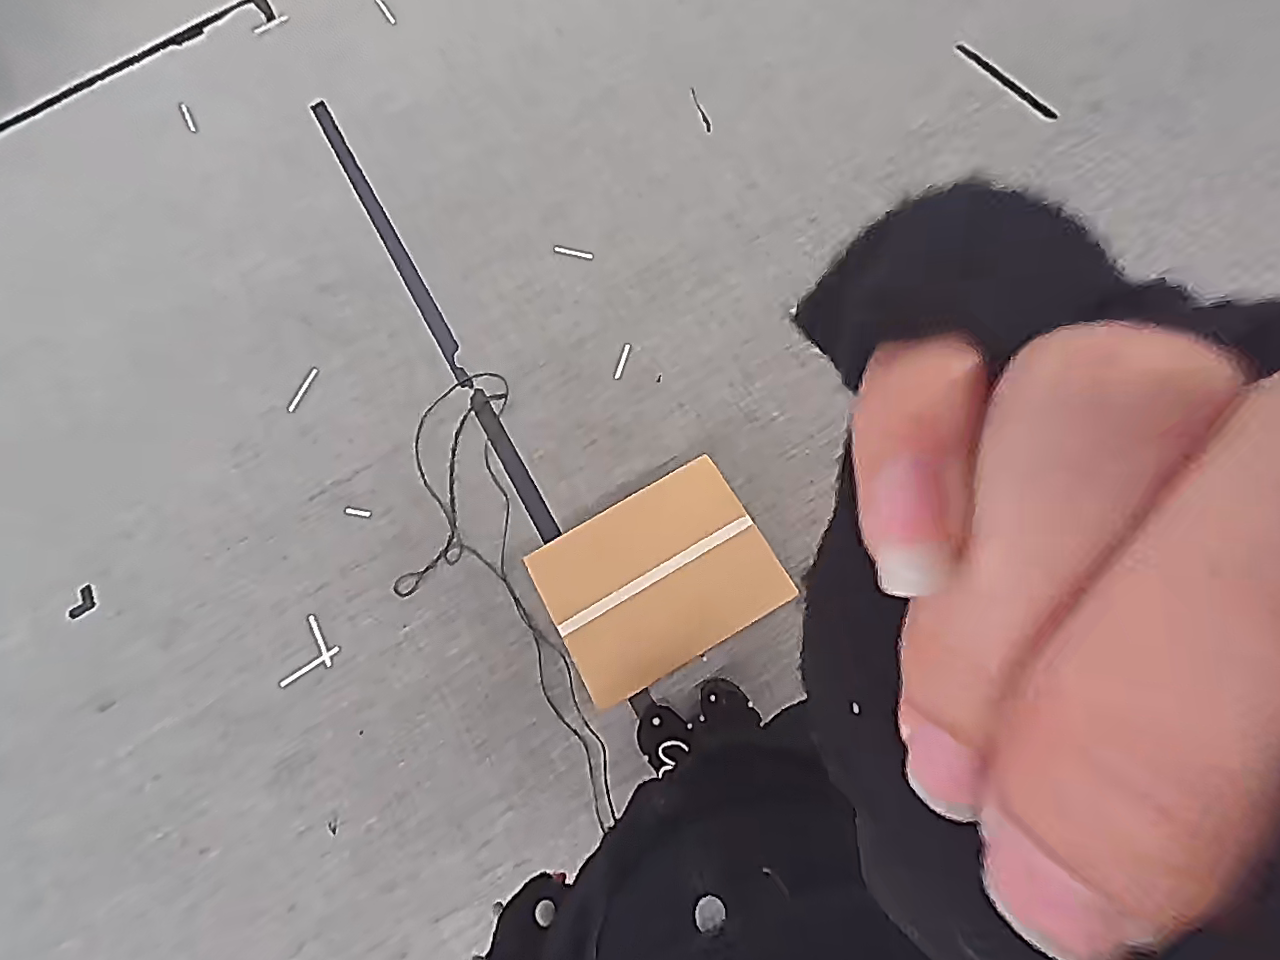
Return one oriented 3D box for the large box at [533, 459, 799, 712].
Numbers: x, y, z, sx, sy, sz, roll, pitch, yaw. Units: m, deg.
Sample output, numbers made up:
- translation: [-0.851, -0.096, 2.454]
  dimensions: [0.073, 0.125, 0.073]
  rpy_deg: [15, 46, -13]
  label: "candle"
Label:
- translation: [0.054, 0.226, 1.126]
  dimensions: [0.408, 0.320, 0.320]
  rpy_deg: [-30, 72, -4]
  label: "large box"
